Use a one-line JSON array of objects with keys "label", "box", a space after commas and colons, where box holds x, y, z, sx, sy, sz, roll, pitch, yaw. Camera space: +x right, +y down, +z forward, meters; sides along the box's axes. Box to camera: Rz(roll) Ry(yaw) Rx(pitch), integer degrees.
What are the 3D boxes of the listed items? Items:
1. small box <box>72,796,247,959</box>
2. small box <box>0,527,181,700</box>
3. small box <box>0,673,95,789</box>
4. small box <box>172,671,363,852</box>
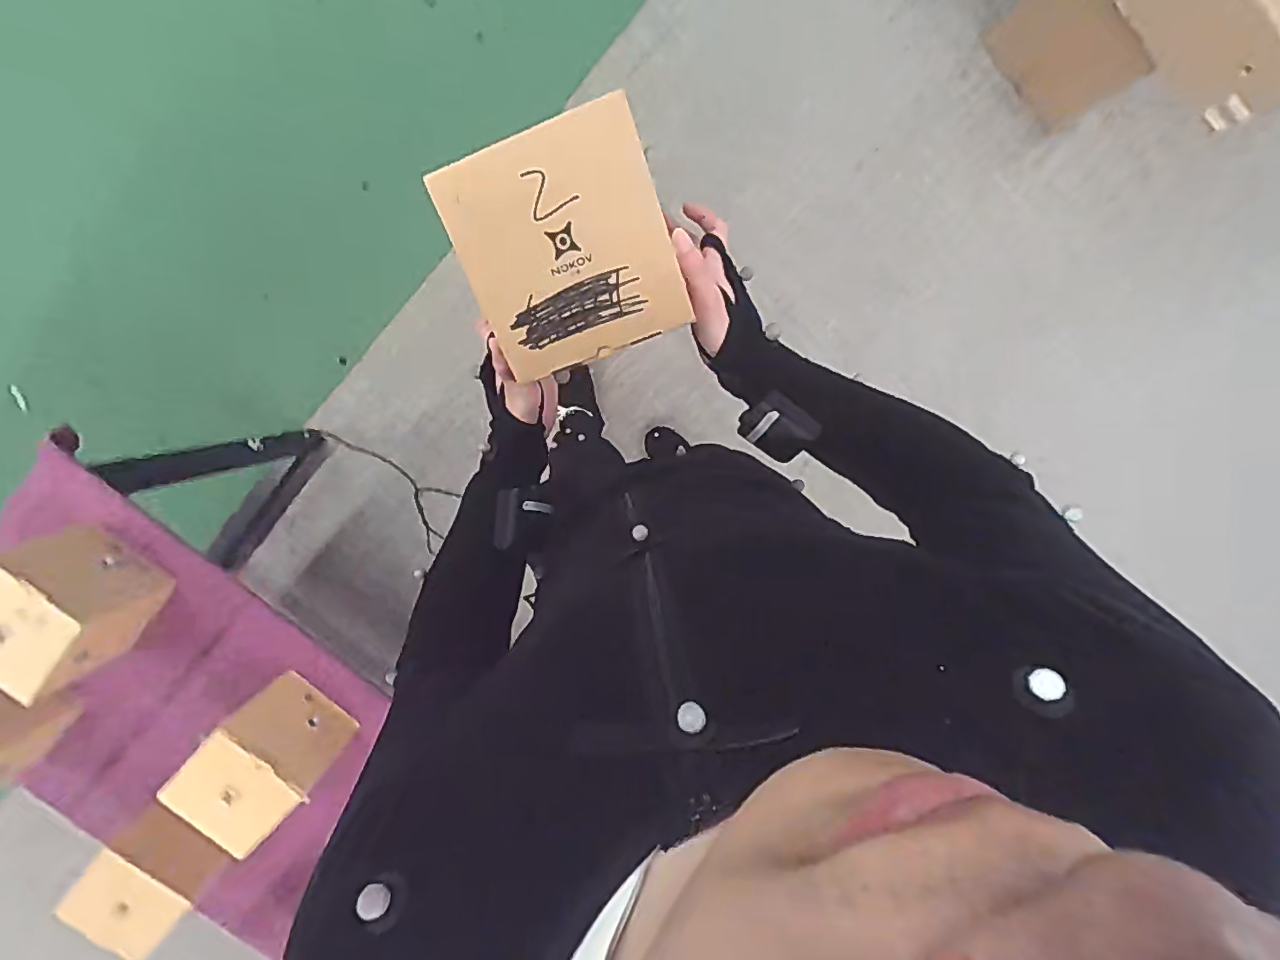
[{"label": "small box", "box": [-0.831, 0.685, 0.975, 0.168, 0.176, 0.179, 41, 99, -6]}, {"label": "small box", "box": [-0.913, 0.206, 0.877, 0.168, 0.176, 0.179, 40, 100, -7]}, {"label": "small box", "box": [-1.121, 0.429, 0.933, 0.168, 0.176, 0.179, 43, 100, -7]}, {"label": "small box", "box": [-0.619, 0.469, 0.923, 0.168, 0.176, 0.179, 43, 100, -6]}]
